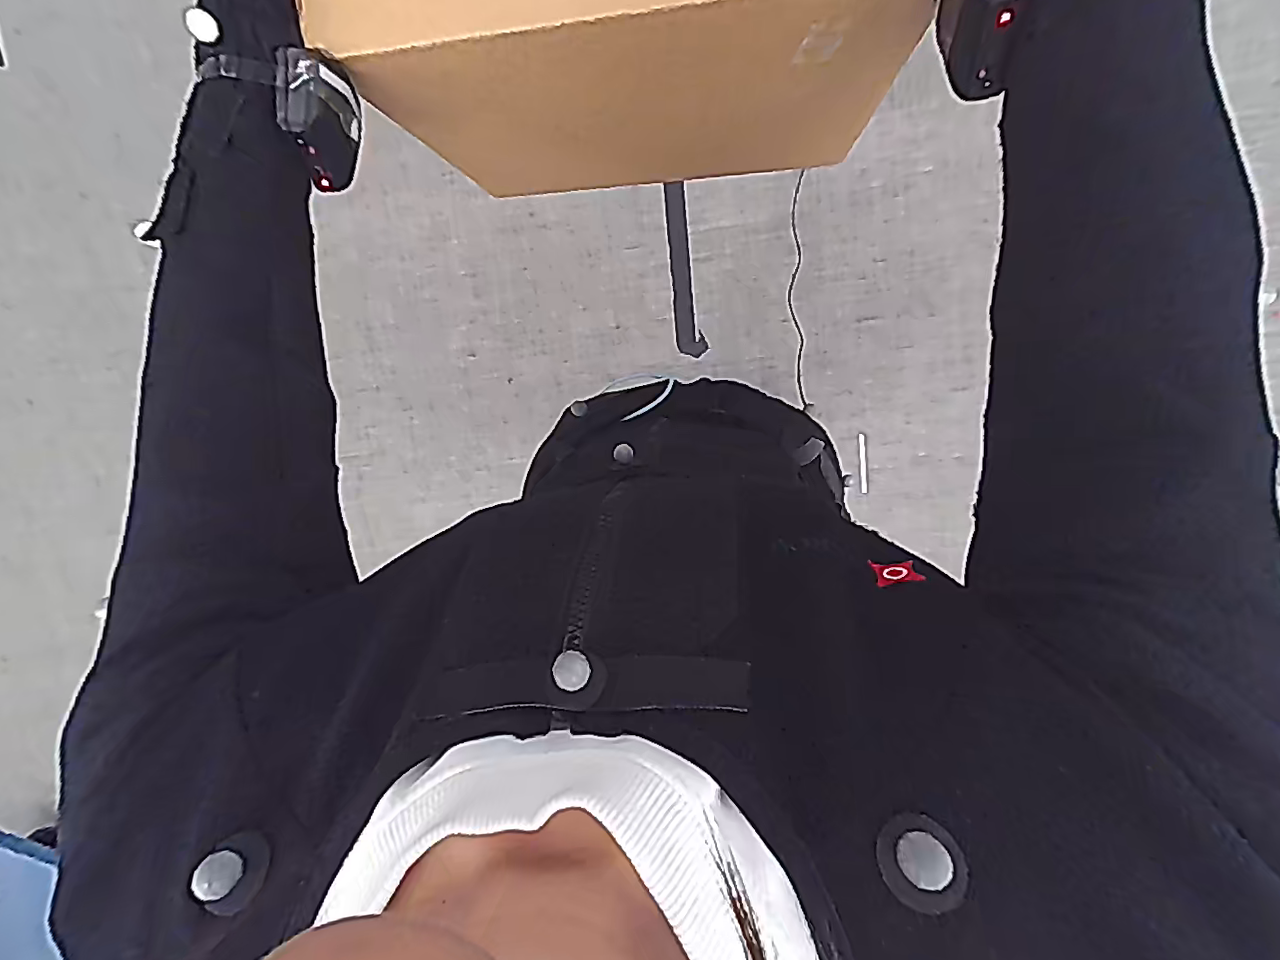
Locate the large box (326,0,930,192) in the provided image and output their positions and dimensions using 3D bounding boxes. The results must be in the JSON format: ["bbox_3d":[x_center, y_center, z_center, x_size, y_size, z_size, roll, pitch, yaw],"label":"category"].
[{"bbox_3d":[-0.002,-0.470,0.449,0.408,0.320,0.320,-2,102,7],"label":"large box"}]
